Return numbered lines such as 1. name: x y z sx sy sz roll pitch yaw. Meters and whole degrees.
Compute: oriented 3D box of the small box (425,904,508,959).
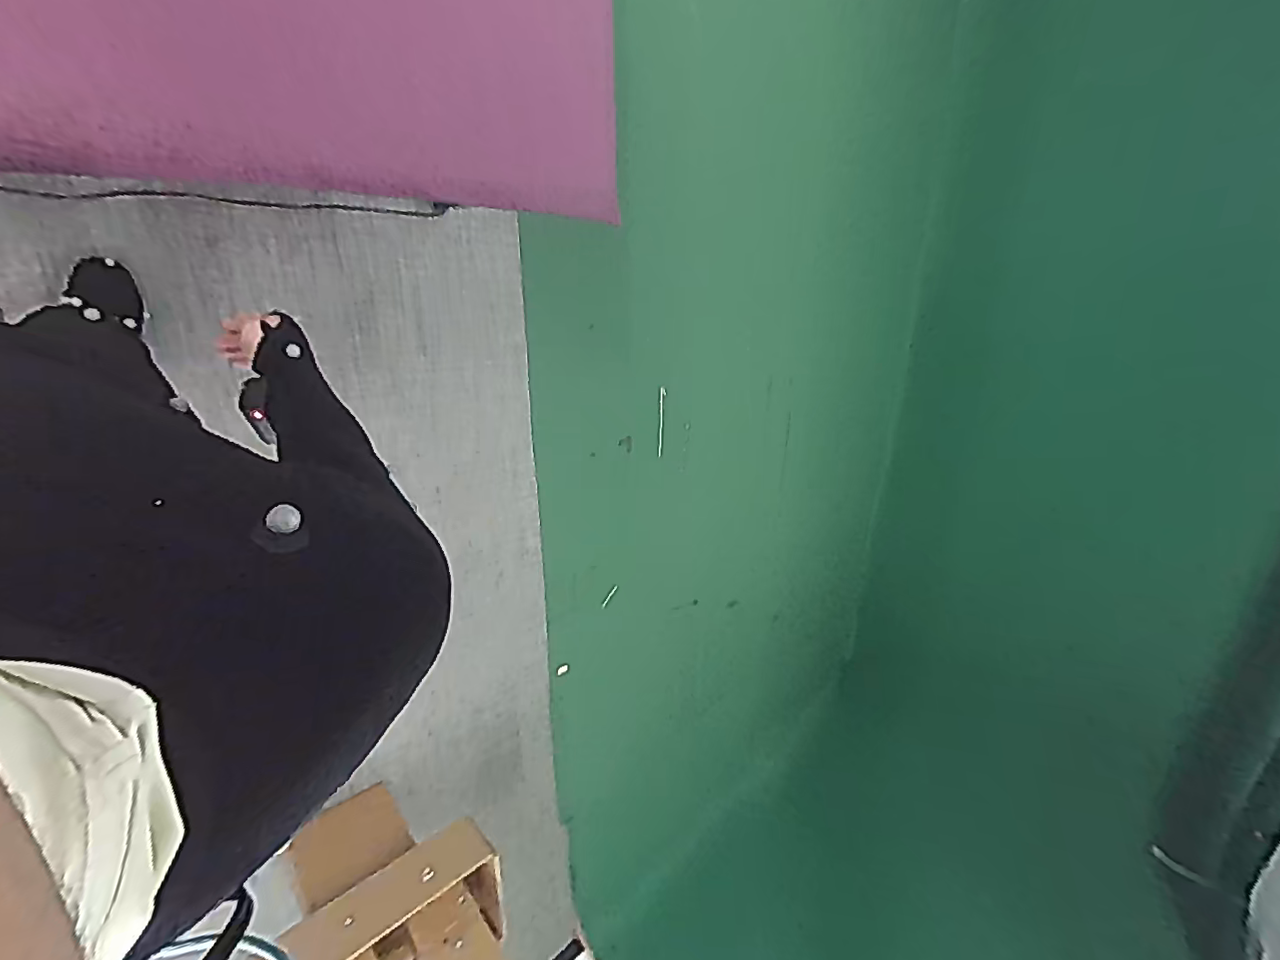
1. small box: -0.476 1.338 1.493 0.168 0.176 0.179 -17 117 -40
